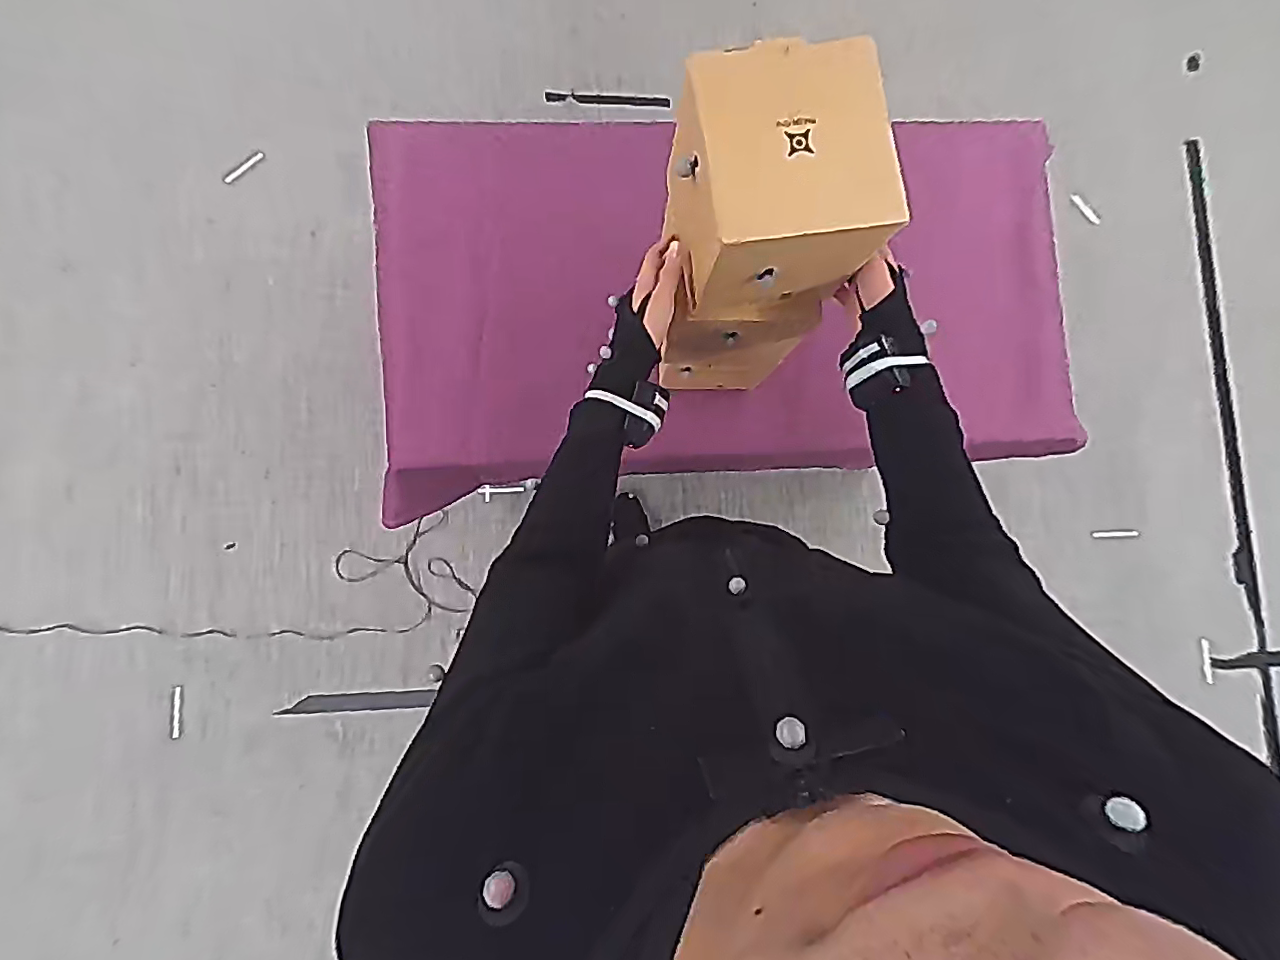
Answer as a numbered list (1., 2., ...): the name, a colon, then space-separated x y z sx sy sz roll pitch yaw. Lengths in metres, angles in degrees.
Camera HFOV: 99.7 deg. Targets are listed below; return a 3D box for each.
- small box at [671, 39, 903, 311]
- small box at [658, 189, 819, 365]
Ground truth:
1. small box: 0.129 -0.283 0.542 0.168 0.176 0.179 -8 84 -4
2. small box: 0.115 -0.252 0.703 0.179 0.176 0.168 0 86 -4
